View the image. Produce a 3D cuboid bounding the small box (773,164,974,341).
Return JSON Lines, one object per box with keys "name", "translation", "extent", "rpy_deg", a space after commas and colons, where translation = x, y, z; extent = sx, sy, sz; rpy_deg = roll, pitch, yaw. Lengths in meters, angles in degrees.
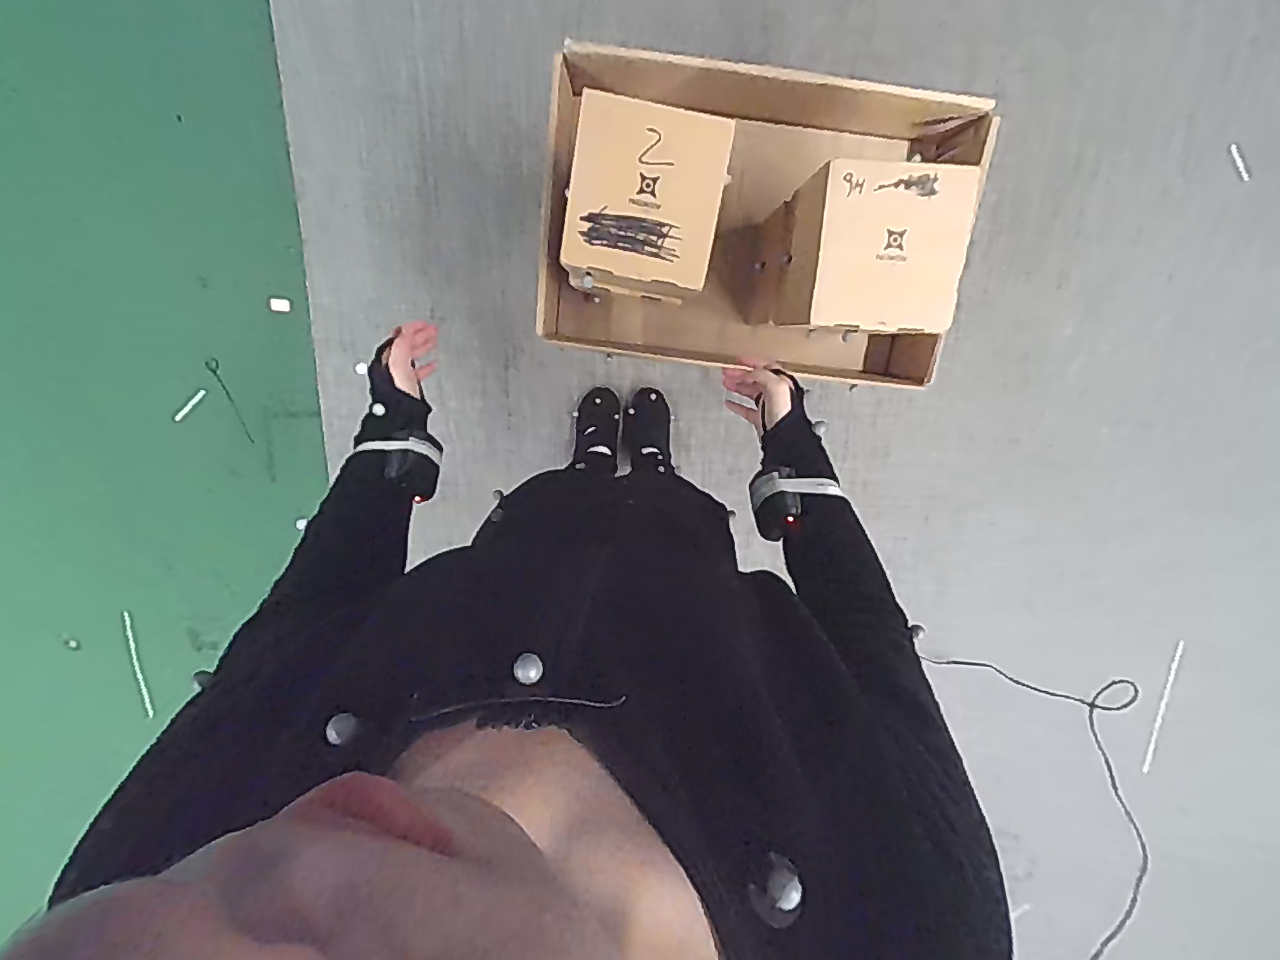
{"name": "small box", "translation": [0.276, -0.276, 0.687], "extent": [0.168, 0.176, 0.179], "rpy_deg": [4, 106, -2]}
